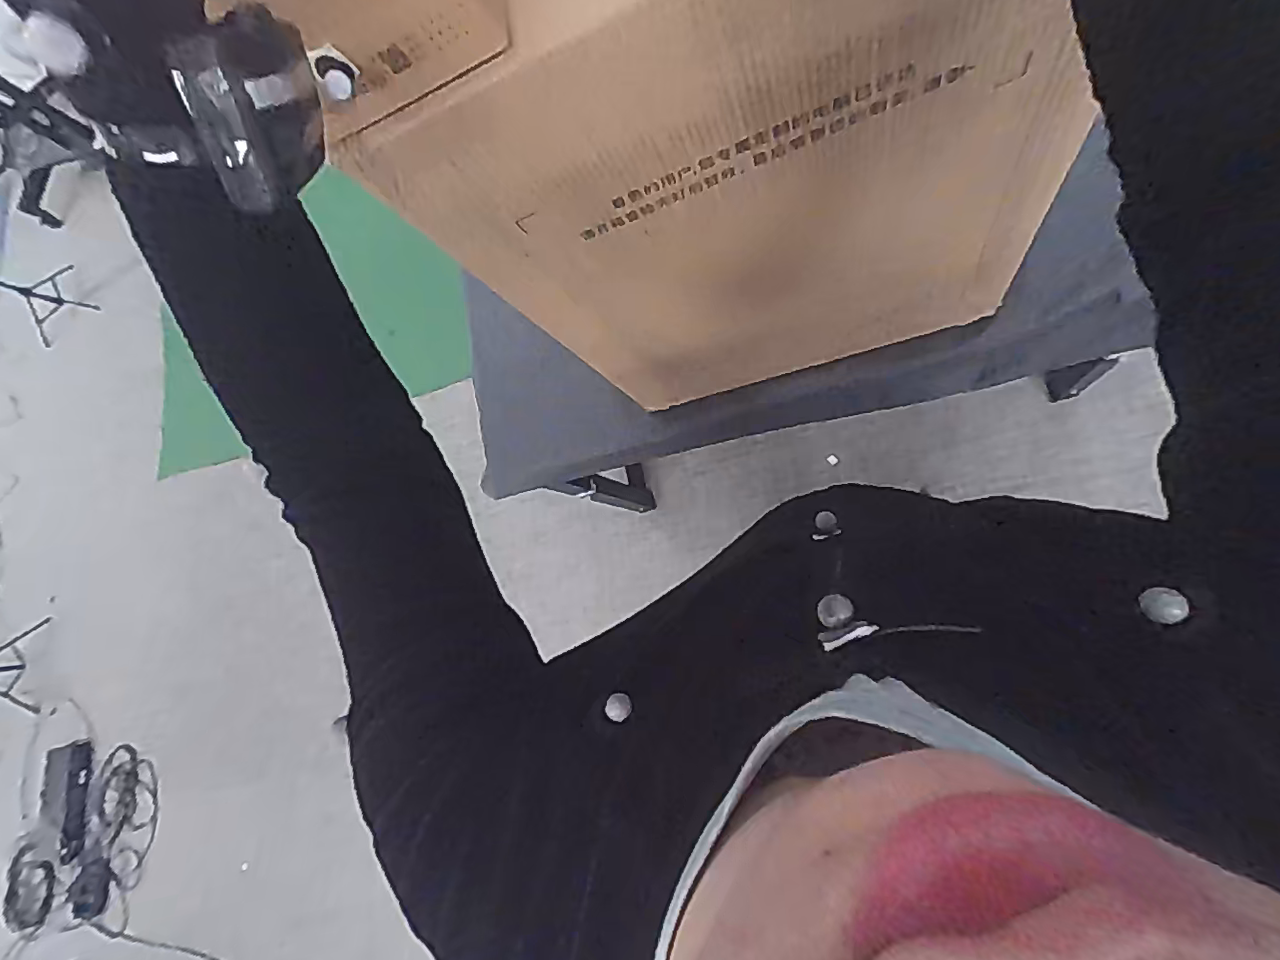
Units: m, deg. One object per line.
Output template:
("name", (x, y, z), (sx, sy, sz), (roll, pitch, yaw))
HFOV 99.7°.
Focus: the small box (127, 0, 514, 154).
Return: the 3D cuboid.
("small box", (-0.187, -0.325, 0.282), (0.168, 0.176, 0.179), (-14, 78, 22))
